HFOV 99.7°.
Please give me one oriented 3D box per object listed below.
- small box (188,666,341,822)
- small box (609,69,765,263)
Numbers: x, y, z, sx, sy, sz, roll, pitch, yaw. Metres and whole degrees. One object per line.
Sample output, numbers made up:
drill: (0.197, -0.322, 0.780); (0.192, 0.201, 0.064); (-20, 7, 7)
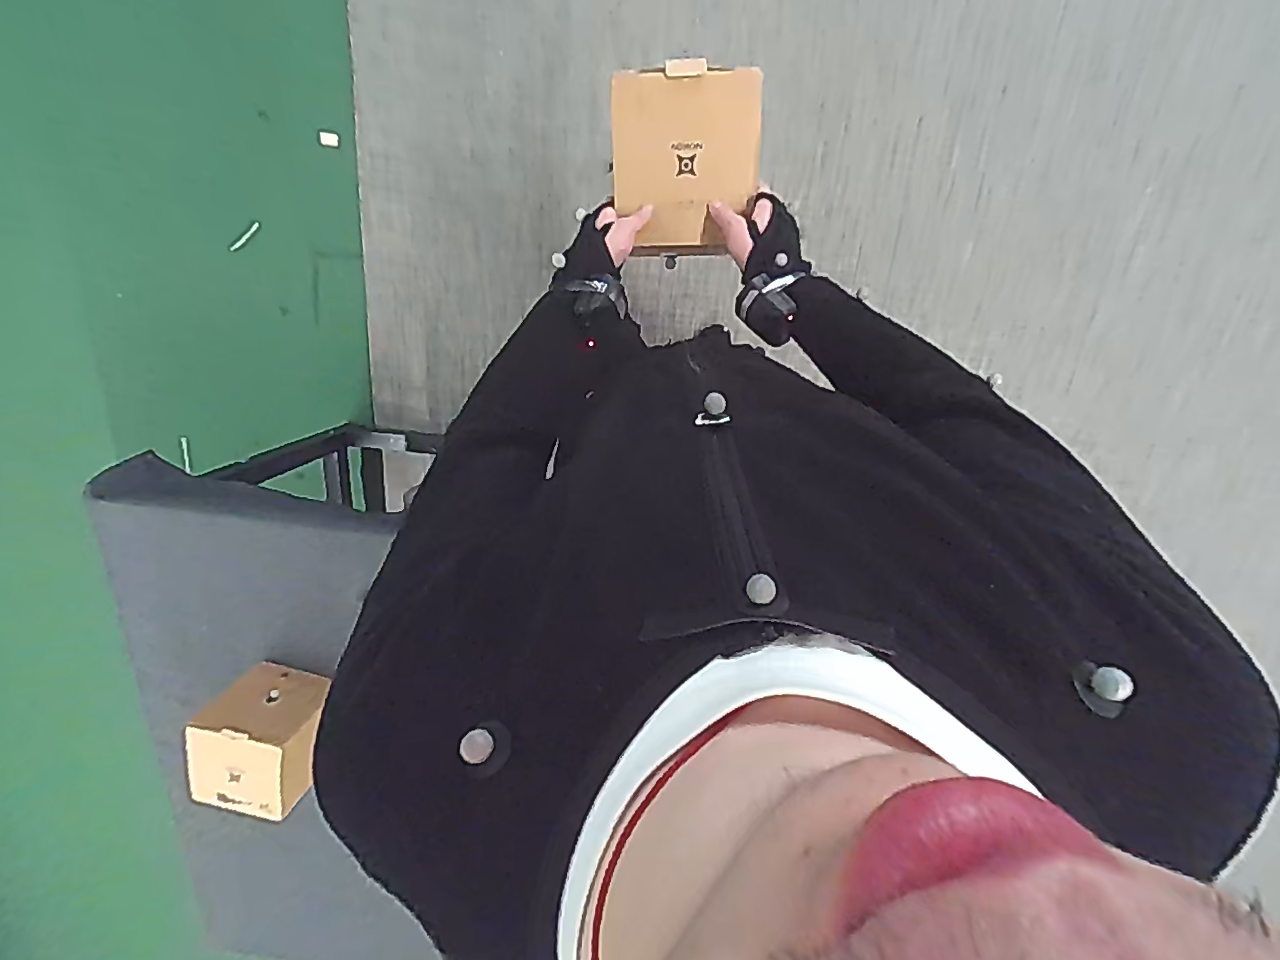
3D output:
small box: (-0.676, 0.472, 0.988); (0.168, 0.176, 0.179); (14, 108, 1)
small box: (0.050, -0.370, 0.666); (0.168, 0.176, 0.179); (2, 108, 2)
